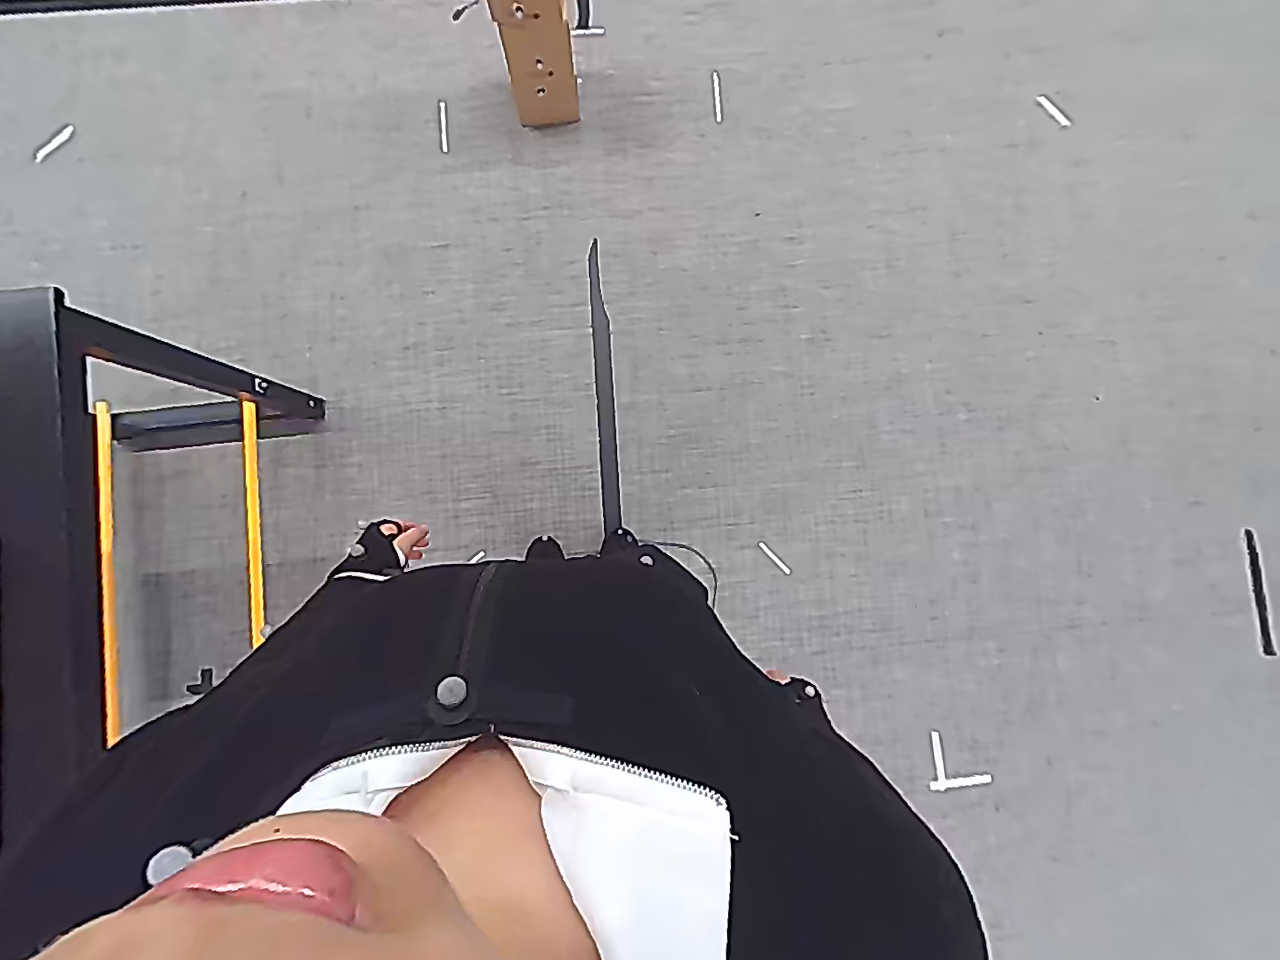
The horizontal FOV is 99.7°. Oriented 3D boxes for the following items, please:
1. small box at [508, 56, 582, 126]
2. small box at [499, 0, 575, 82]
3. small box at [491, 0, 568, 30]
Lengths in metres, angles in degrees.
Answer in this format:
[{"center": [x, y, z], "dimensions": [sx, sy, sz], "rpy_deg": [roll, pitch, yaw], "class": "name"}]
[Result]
[{"center": [-0.262, -1.111, 1.487], "dimensions": [0.179, 0.176, 0.168], "rpy_deg": [-8, 87, -3], "class": "small box"}, {"center": [-0.251, -1.122, 1.323], "dimensions": [0.168, 0.176, 0.179], "rpy_deg": [-5, 87, -2], "class": "small box"}, {"center": [-0.245, -1.125, 1.160], "dimensions": [0.168, 0.176, 0.179], "rpy_deg": [1, 88, -1], "class": "small box"}]
